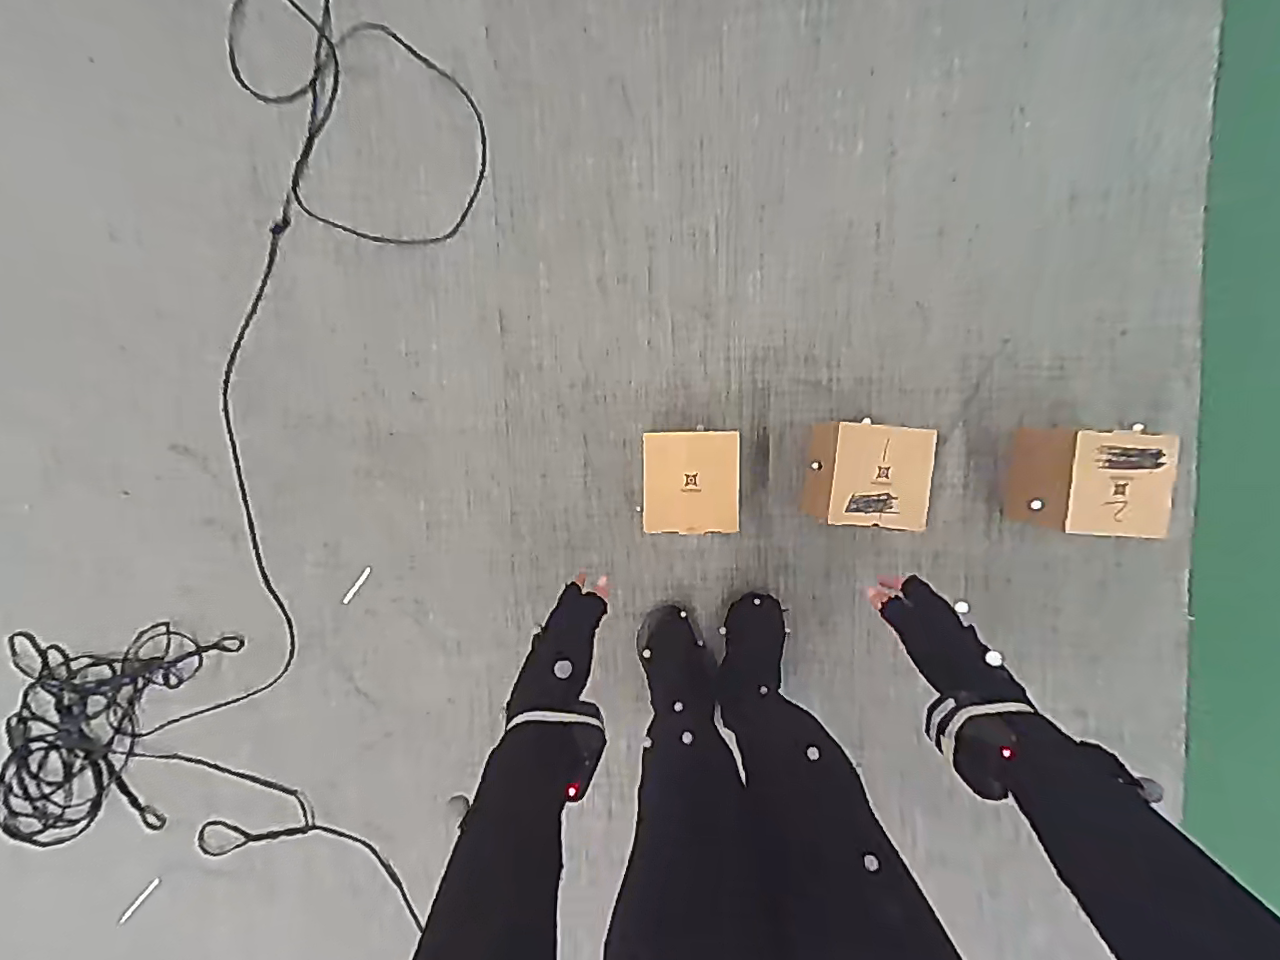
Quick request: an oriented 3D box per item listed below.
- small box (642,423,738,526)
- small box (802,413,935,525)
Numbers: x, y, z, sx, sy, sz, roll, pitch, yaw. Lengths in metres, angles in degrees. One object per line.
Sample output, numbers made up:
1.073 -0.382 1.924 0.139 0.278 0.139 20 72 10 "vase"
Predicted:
0.087 -0.014 0.995 0.168 0.176 0.179 -1 95 3 "small box"
0.401 -0.024 0.980 0.168 0.176 0.179 5 94 2 "small box"
